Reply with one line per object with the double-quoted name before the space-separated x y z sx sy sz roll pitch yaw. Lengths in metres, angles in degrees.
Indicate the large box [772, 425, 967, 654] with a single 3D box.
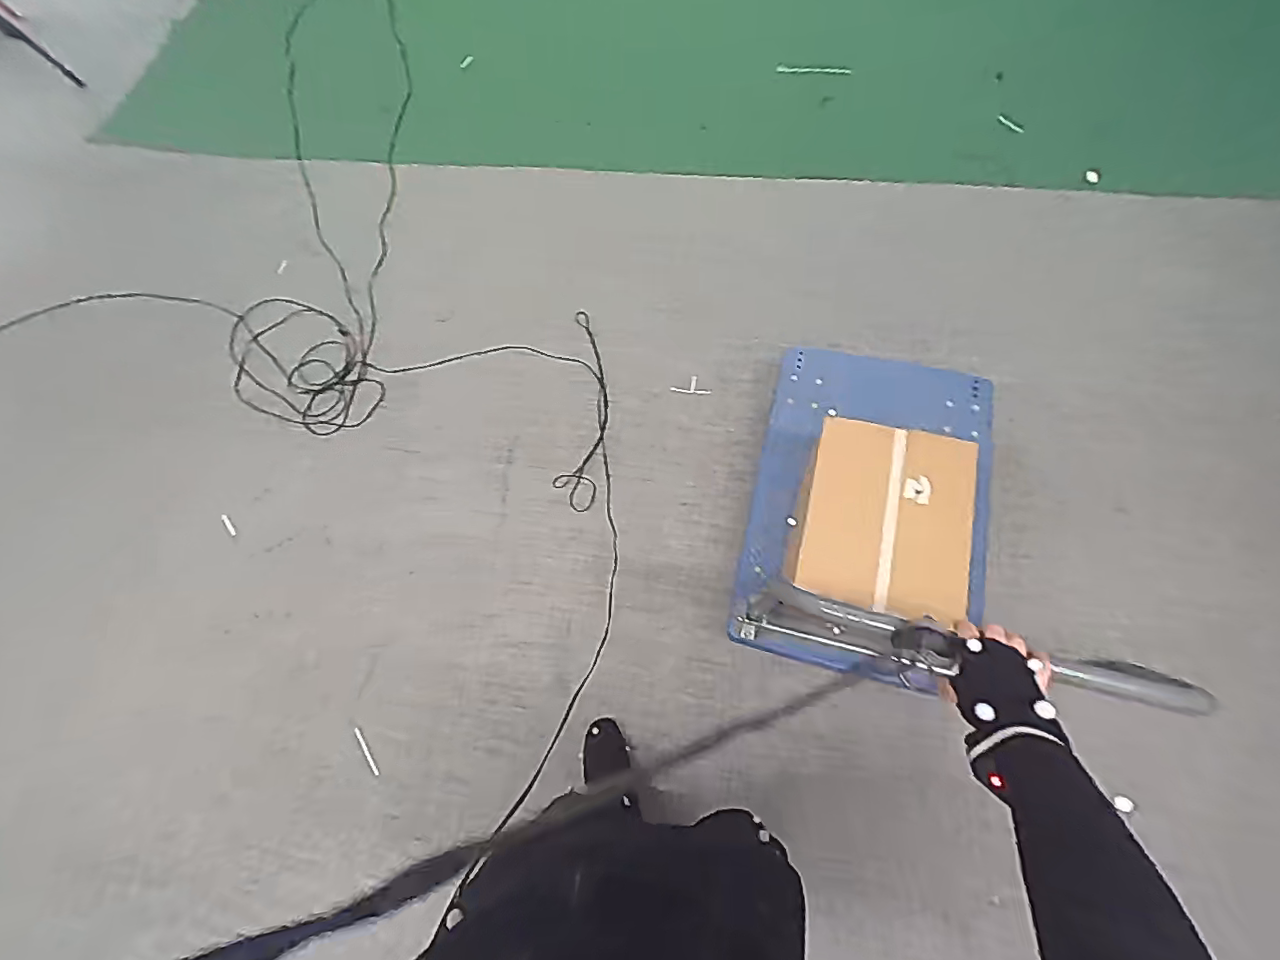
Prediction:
"large box" 0.502 0.145 1.228 0.320 0.320 0.408 14 69 10
